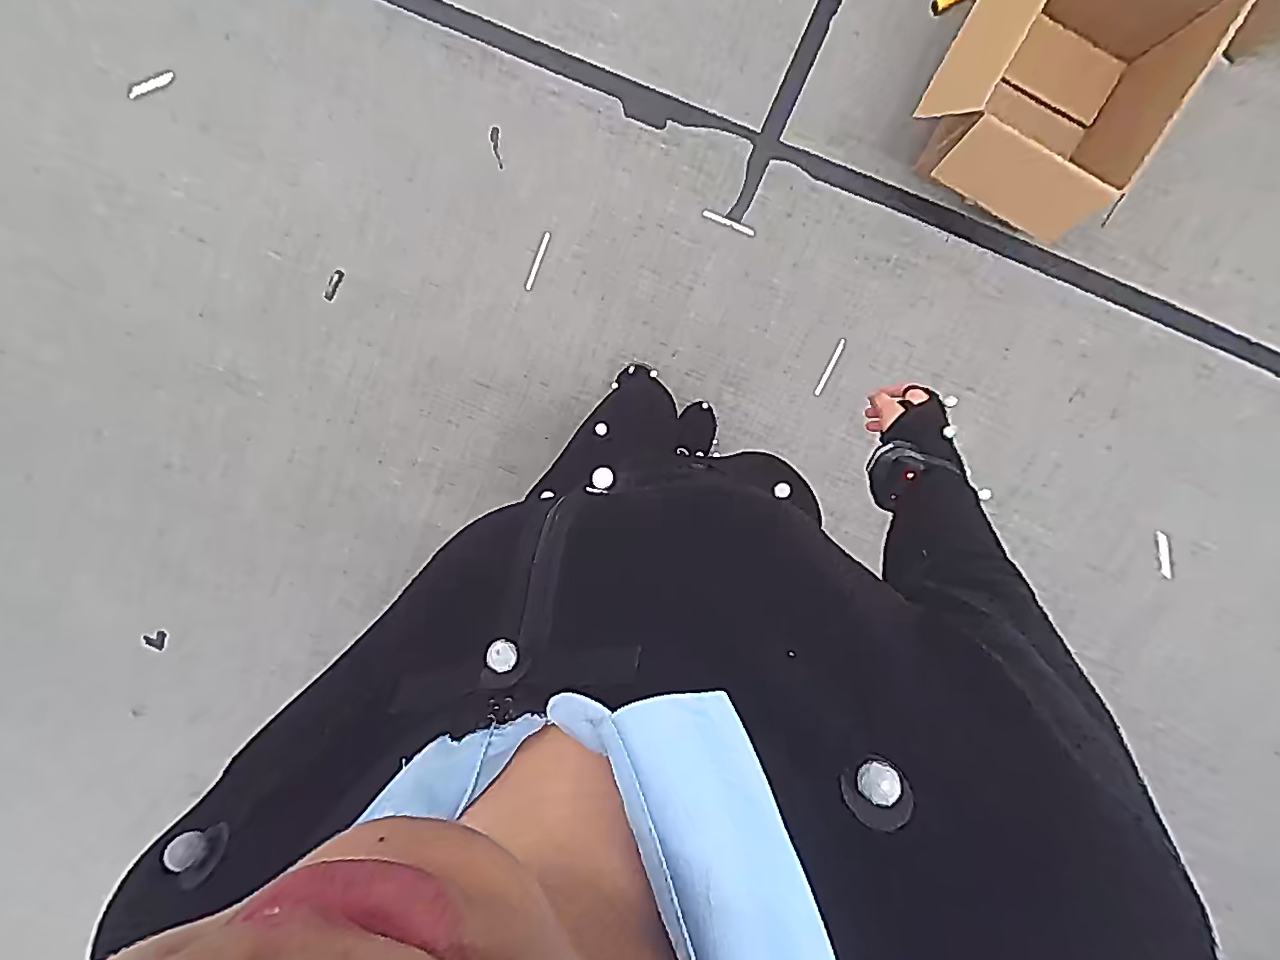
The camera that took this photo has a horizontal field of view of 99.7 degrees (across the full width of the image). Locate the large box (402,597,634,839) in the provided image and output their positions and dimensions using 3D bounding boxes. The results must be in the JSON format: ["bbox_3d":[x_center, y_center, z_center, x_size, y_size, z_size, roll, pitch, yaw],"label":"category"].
[{"bbox_3d":[-0.264,0.539,1.284,0.408,0.320,0.320,24,101,0],"label":"large box"}]
